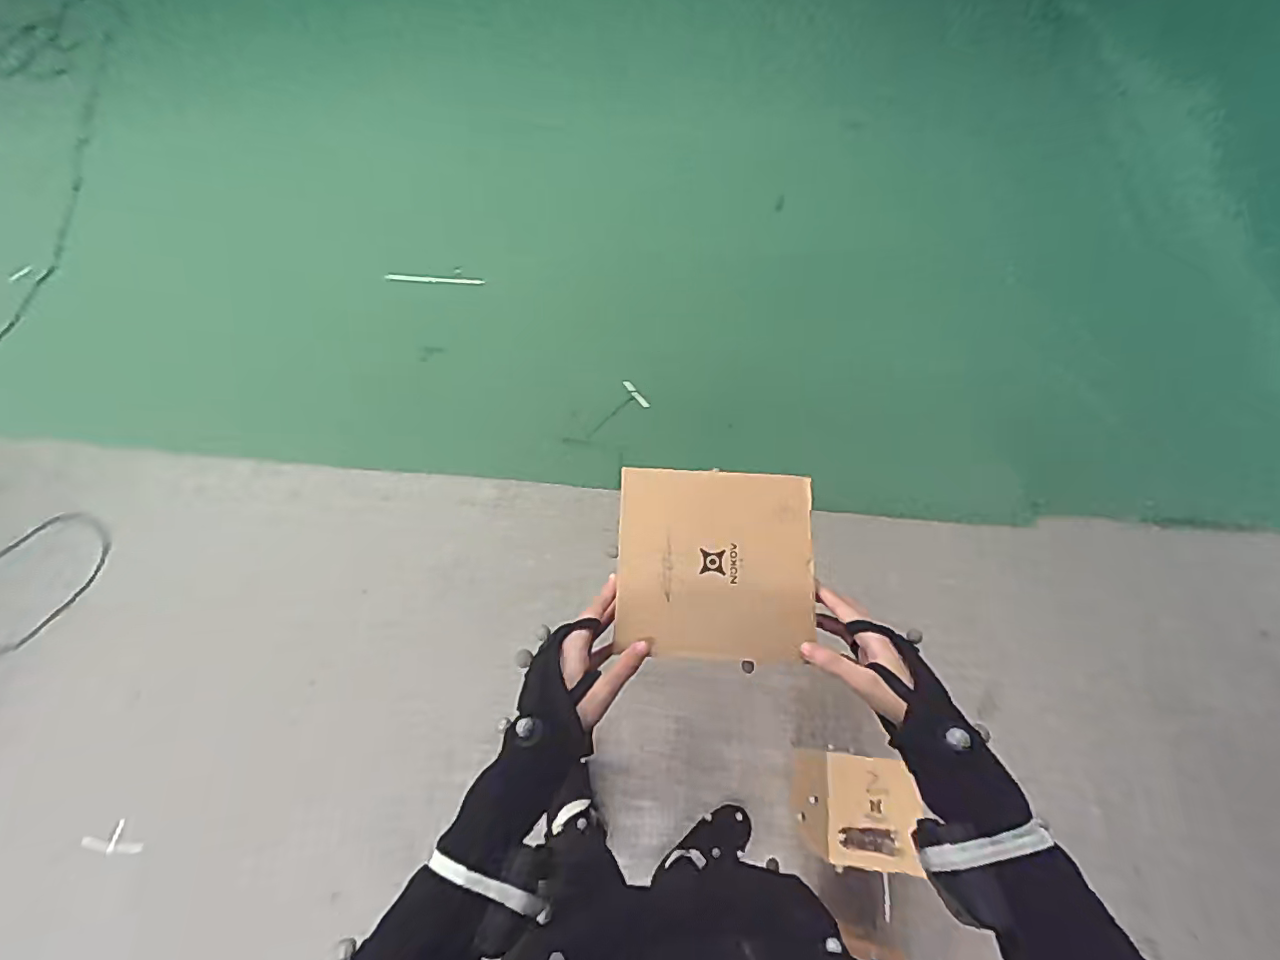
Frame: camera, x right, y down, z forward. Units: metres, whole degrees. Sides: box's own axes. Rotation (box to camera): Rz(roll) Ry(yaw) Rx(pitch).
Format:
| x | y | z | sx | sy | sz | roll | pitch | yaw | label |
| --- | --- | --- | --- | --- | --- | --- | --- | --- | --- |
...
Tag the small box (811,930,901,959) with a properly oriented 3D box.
| x | y | z | sx | sy | sz | roll | pitch | yaw | label |
| --- | --- | --- | --- | --- | --- | --- | --- | --- | --- |
| 0.380 | 0.890 | 0.892 | 0.168 | 0.176 | 0.179 | 13 | 65 | 9 | small box |
